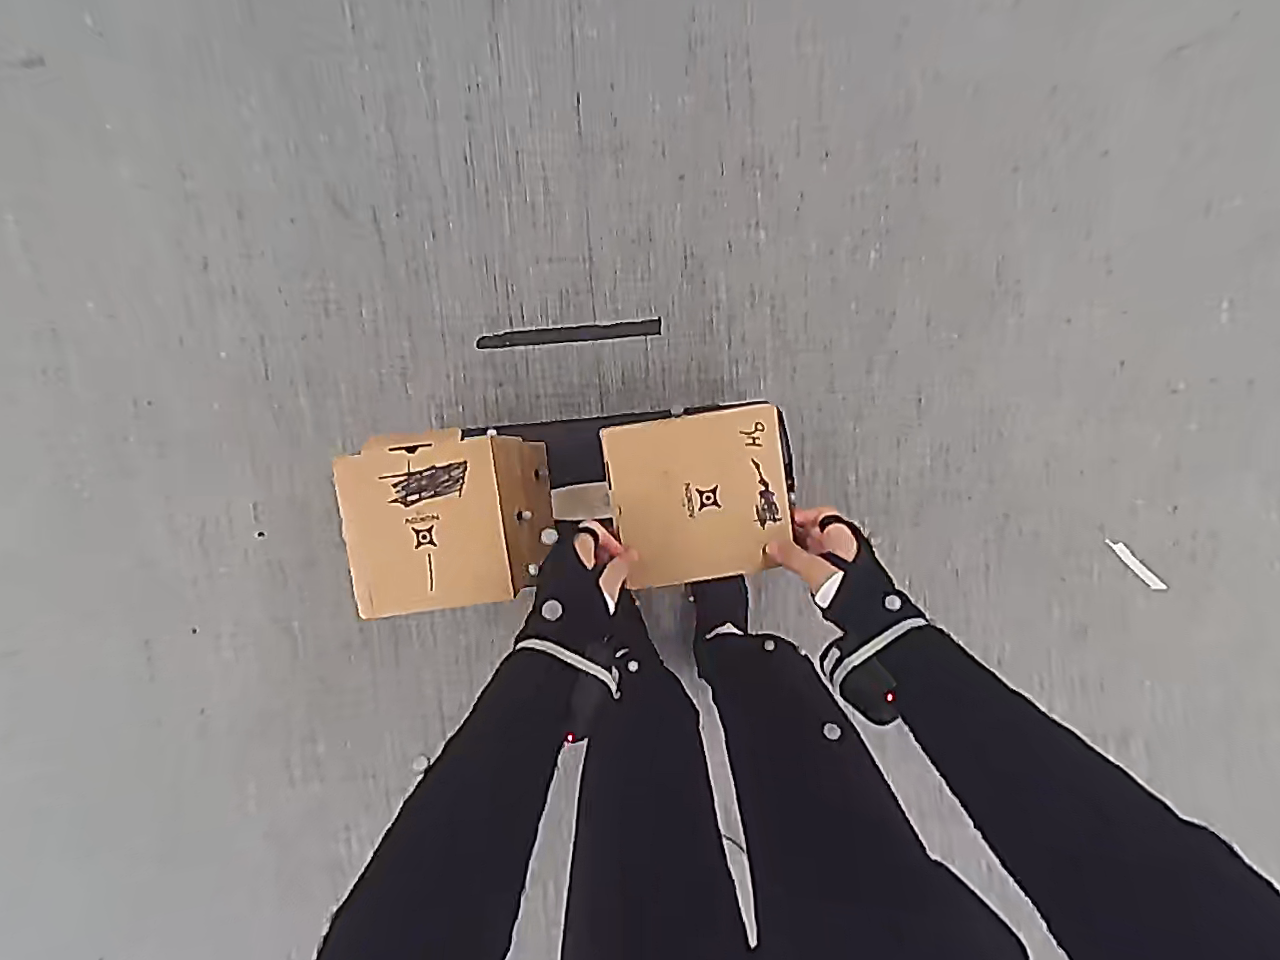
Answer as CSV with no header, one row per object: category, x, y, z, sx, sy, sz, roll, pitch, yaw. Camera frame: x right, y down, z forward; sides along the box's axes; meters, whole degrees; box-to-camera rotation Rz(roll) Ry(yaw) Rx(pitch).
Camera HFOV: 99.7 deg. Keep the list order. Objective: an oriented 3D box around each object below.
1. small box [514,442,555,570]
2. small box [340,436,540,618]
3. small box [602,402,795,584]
small box,-0.221,0.038,0.803,0.168,0.176,0.179,-6,94,-1
small box,-0.220,0.045,0.640,0.168,0.176,0.179,-7,95,-1
small box,0.062,0.007,0.615,0.179,0.176,0.168,-8,96,2
